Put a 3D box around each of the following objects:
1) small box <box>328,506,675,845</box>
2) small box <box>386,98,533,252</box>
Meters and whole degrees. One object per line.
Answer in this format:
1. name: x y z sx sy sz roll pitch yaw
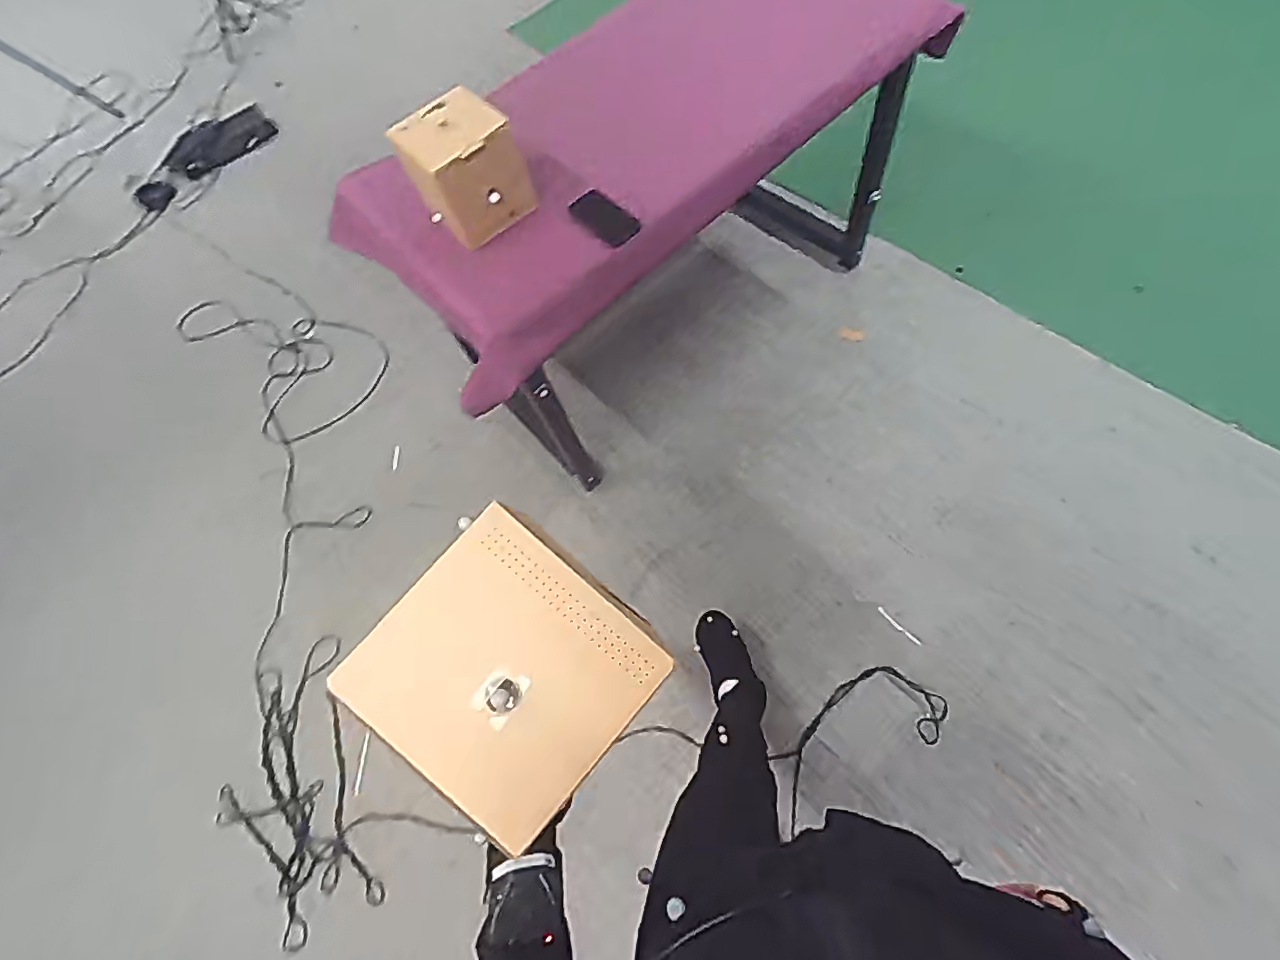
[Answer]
1. small box: -0.098 0.134 0.446 0.179 0.168 0.176 41 81 1
2. small box: -0.331 -0.565 1.024 0.168 0.176 0.179 -40 66 -10
